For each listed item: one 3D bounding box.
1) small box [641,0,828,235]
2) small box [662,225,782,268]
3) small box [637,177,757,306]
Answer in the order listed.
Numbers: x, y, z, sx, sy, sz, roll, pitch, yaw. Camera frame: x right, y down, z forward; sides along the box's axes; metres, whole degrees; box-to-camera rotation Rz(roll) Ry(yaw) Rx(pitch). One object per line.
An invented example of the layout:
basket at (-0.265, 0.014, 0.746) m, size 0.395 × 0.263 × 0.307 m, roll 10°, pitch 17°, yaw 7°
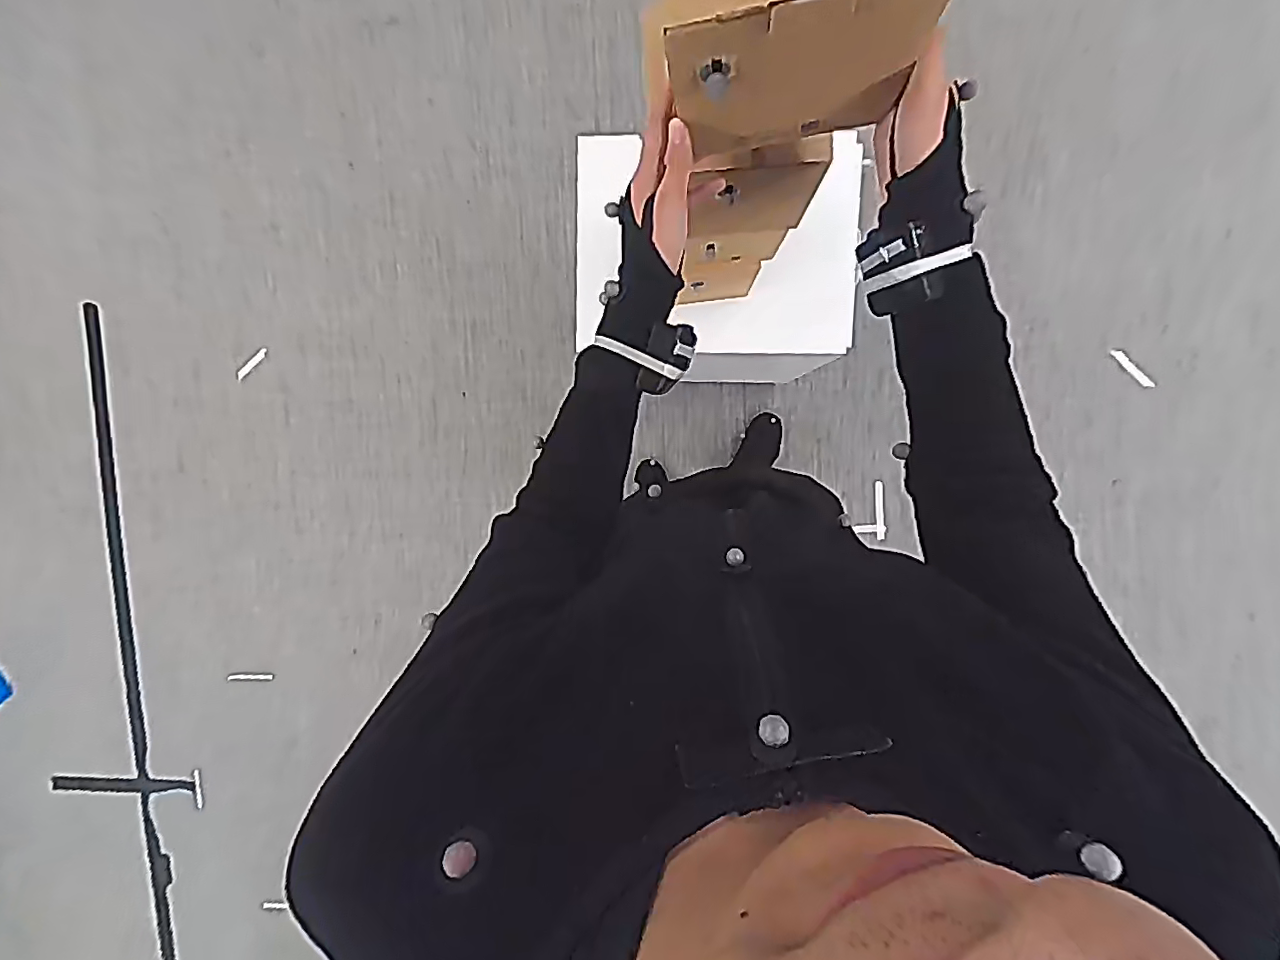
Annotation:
small box at (0.097, -0.387, 0.598) m, size 0.179 × 0.176 × 0.168 m, roll -3°, pitch 94°, yaw 4°
small box at (0.109, -0.412, 0.762) m, size 0.168 × 0.176 × 0.179 m, roll -5°, pitch 93°, yaw 4°
small box at (0.095, -0.407, 0.926) m, size 0.179 × 0.176 × 0.168 m, roll -6°, pitch 94°, yaw 3°
